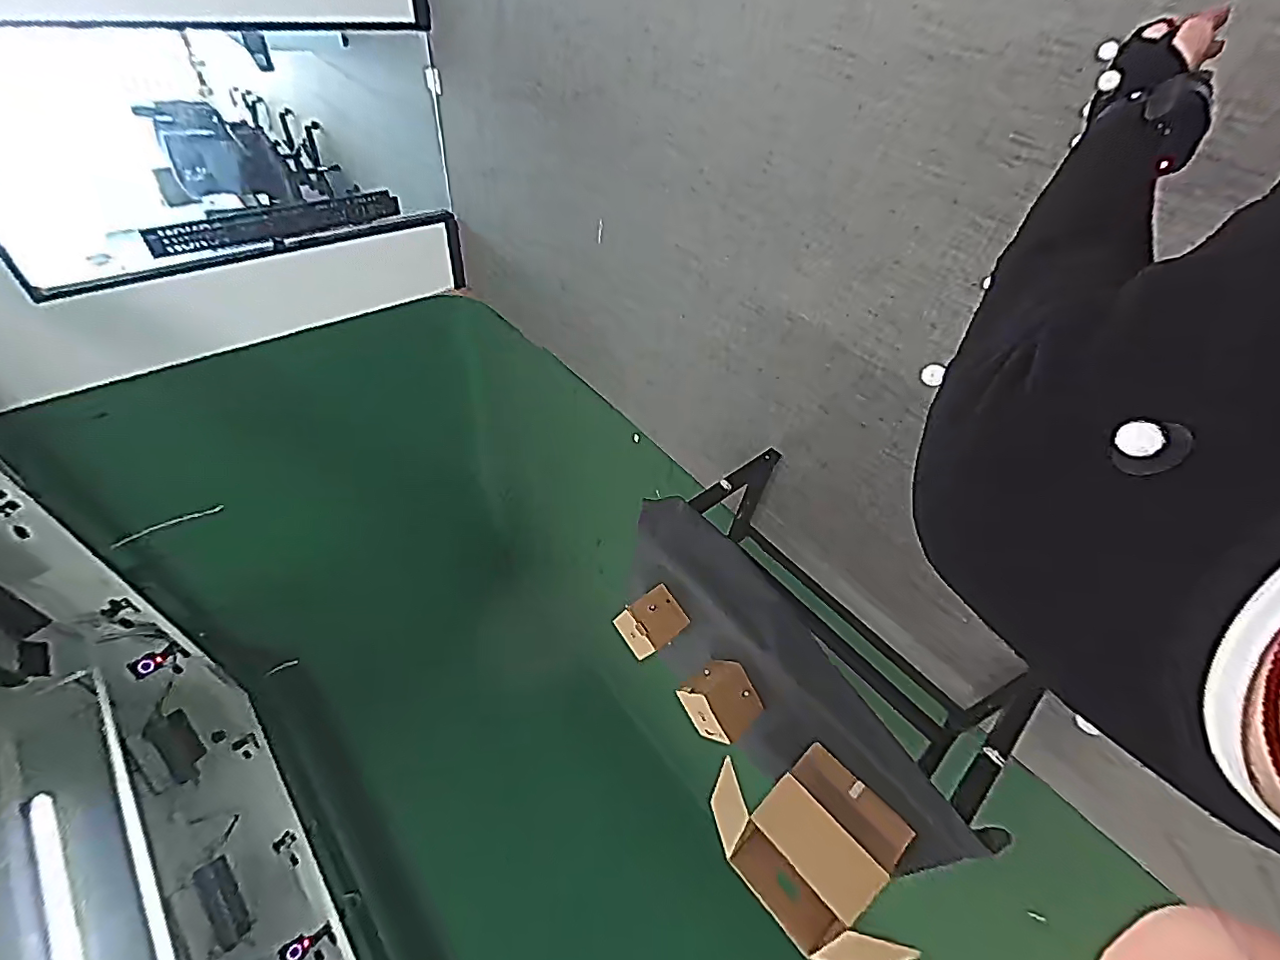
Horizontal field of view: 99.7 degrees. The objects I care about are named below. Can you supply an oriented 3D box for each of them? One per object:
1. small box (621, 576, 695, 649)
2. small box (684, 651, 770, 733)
[{"bbox_3d":[0.066,0.455,1.868,0.168,0.176,0.179,55,150,13],"label":"small box"},{"bbox_3d":[0.278,0.666,1.726,0.168,0.176,0.179,-24,93,59],"label":"small box"}]
